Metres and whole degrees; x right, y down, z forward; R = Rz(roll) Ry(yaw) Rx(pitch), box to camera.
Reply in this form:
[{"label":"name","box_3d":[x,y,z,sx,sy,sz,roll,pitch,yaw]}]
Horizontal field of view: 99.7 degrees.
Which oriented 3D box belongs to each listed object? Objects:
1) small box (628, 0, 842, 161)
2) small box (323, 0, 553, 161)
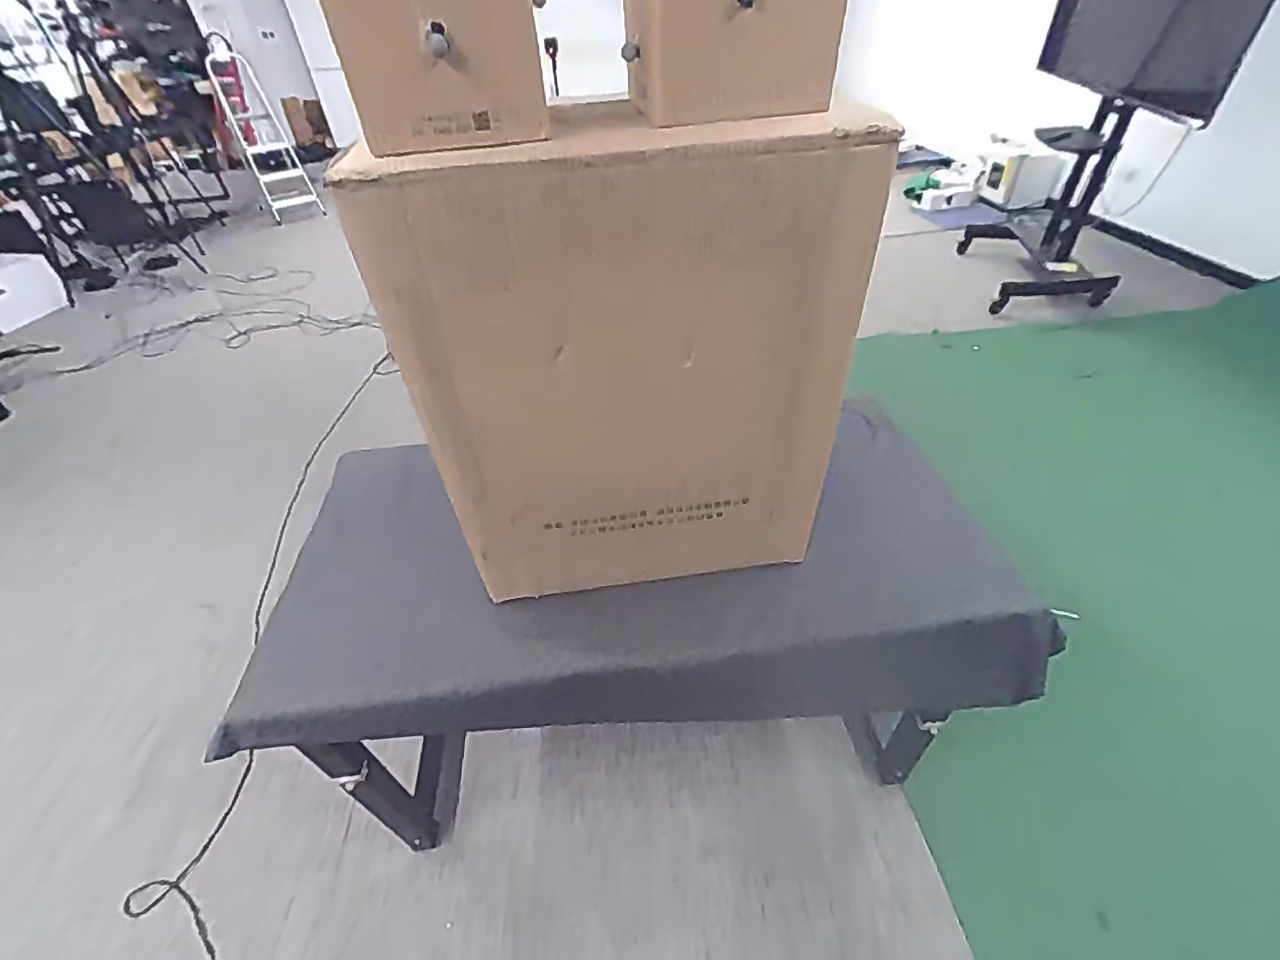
[{"label":"small box","box_3d":[0.084,-0.440,0.545,0.179,0.176,0.168,-9,43,-6]},{"label":"small box","box_3d":[-0.178,-0.413,0.509,0.168,0.176,0.179,-8,44,-6]}]
